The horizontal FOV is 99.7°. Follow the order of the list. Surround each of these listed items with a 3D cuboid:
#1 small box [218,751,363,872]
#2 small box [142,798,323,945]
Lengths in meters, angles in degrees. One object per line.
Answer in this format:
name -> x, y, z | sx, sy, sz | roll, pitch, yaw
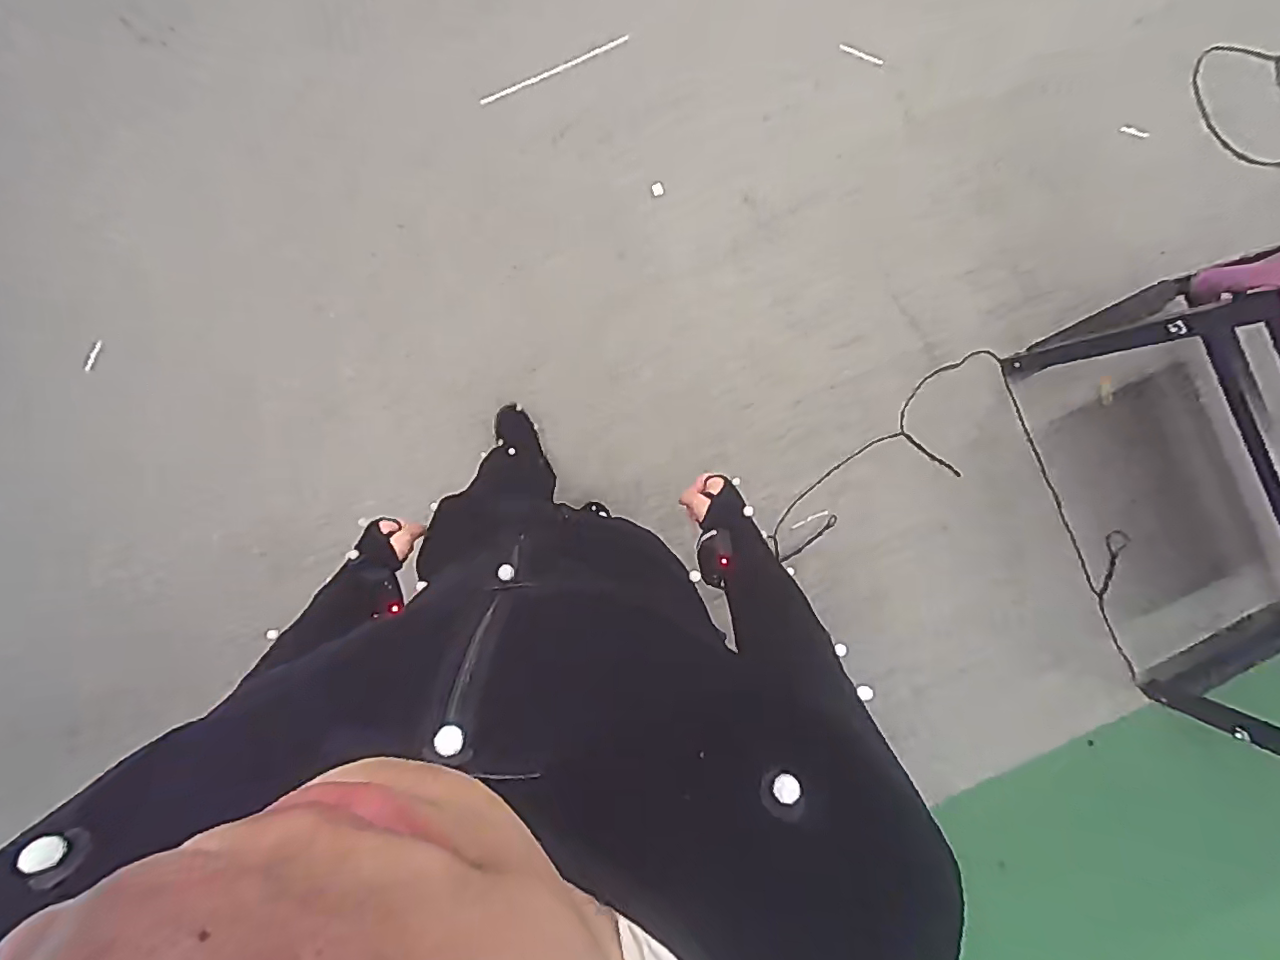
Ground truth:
small box -> -0.706, 0.700, 1.121 | 0.179, 0.176, 0.168 | -19, 93, -2
small box -> -0.699, 0.706, 0.956 | 0.179, 0.176, 0.168 | -20, 93, -1
